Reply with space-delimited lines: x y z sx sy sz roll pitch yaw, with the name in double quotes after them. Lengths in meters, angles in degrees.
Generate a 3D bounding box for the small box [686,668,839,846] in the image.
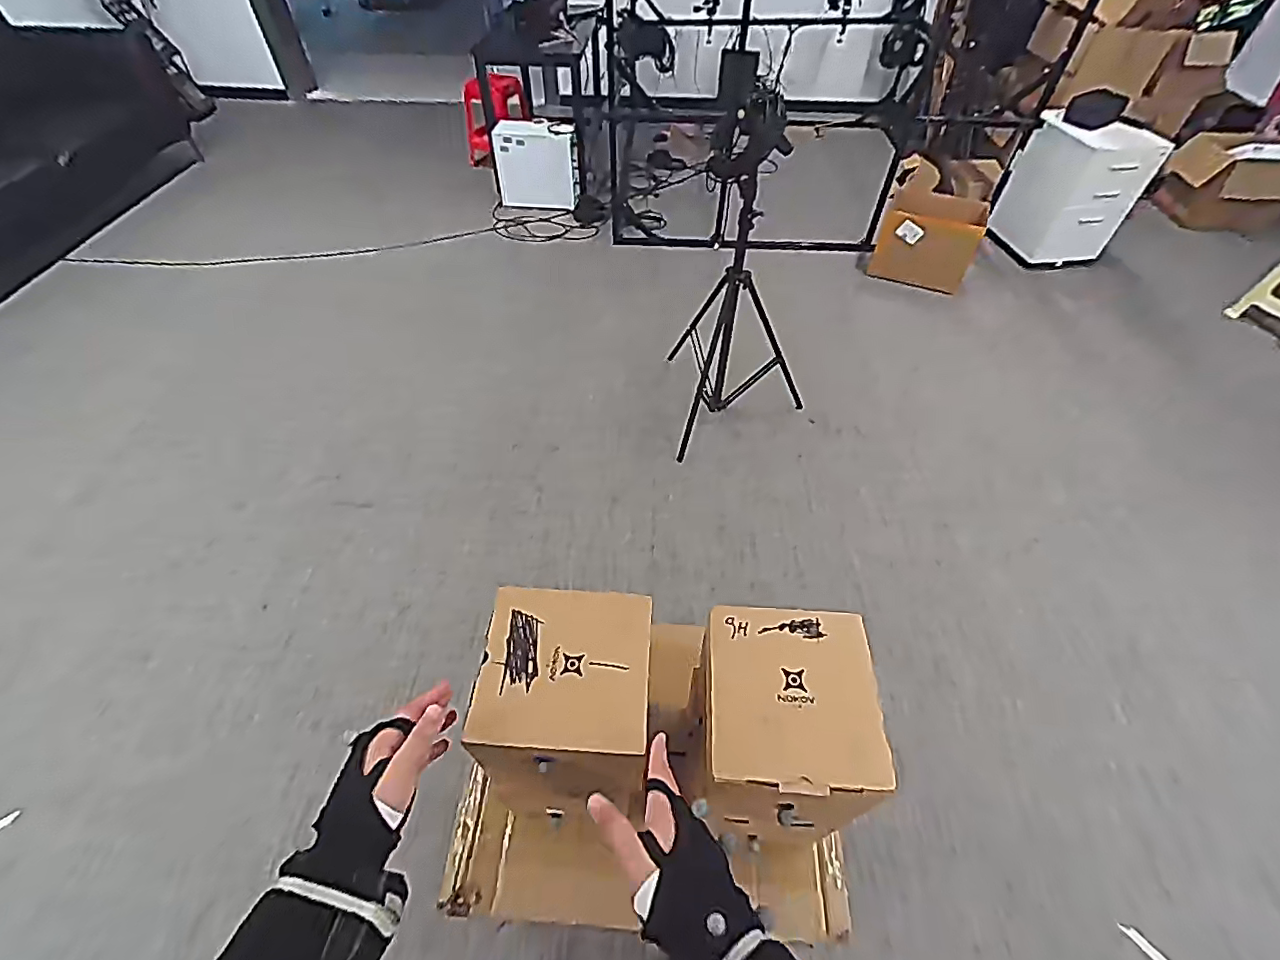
0.148 0.371 0.723 0.168 0.176 0.179 1 50 3 "small box"

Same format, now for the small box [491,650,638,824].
-0.090 0.352 0.739 0.168 0.176 0.179 2 51 1 "small box"

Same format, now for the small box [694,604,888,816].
0.150 0.259 0.601 0.168 0.176 0.179 4 51 3 "small box"
